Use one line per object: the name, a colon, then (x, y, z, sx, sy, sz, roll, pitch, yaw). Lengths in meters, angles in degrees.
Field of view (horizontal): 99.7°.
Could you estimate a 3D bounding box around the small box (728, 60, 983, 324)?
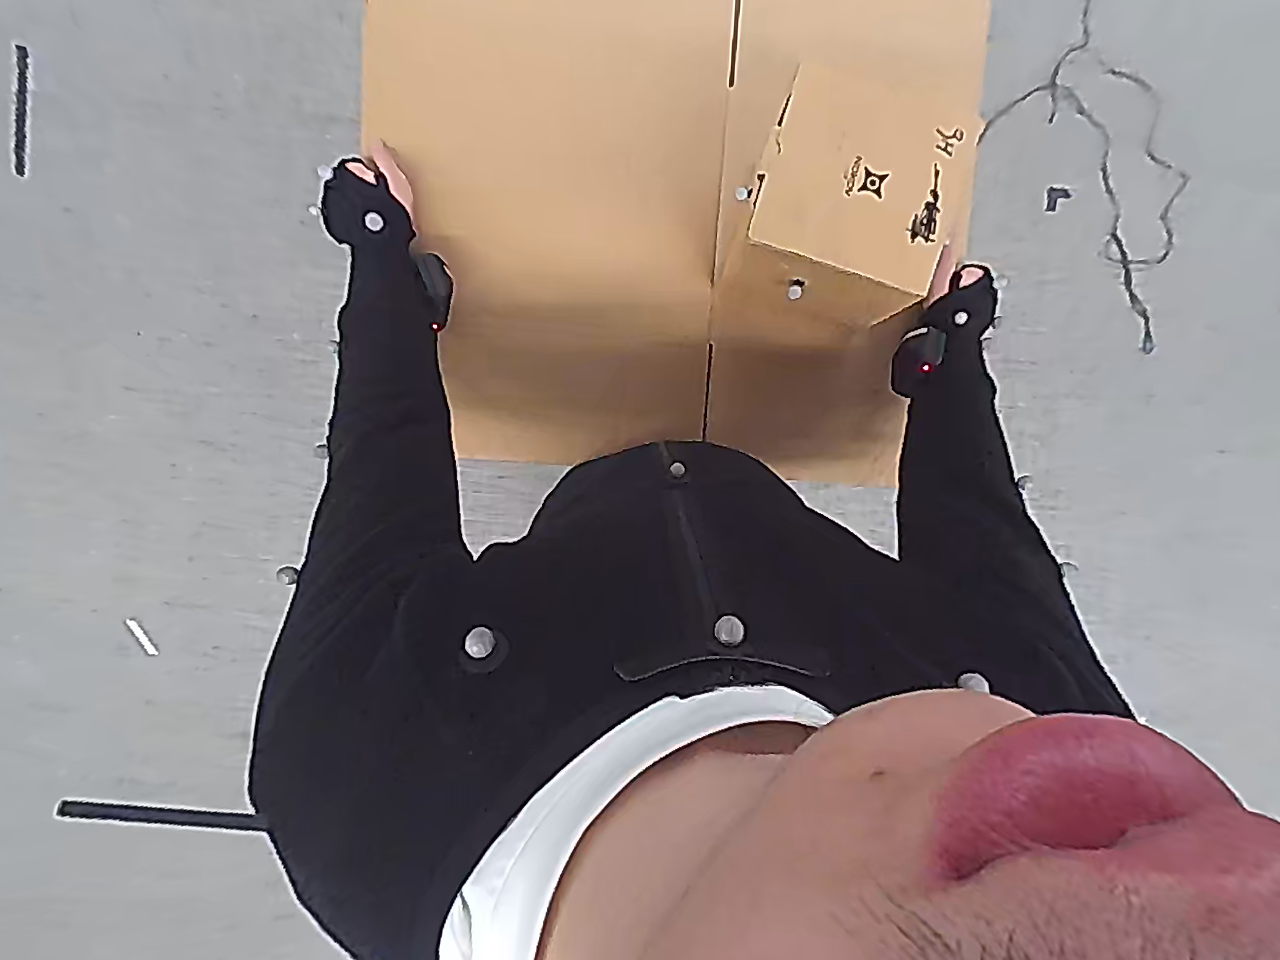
small box: (0.204, -0.280, 0.569, 0.179, 0.176, 0.168, 17, 93, 0)
